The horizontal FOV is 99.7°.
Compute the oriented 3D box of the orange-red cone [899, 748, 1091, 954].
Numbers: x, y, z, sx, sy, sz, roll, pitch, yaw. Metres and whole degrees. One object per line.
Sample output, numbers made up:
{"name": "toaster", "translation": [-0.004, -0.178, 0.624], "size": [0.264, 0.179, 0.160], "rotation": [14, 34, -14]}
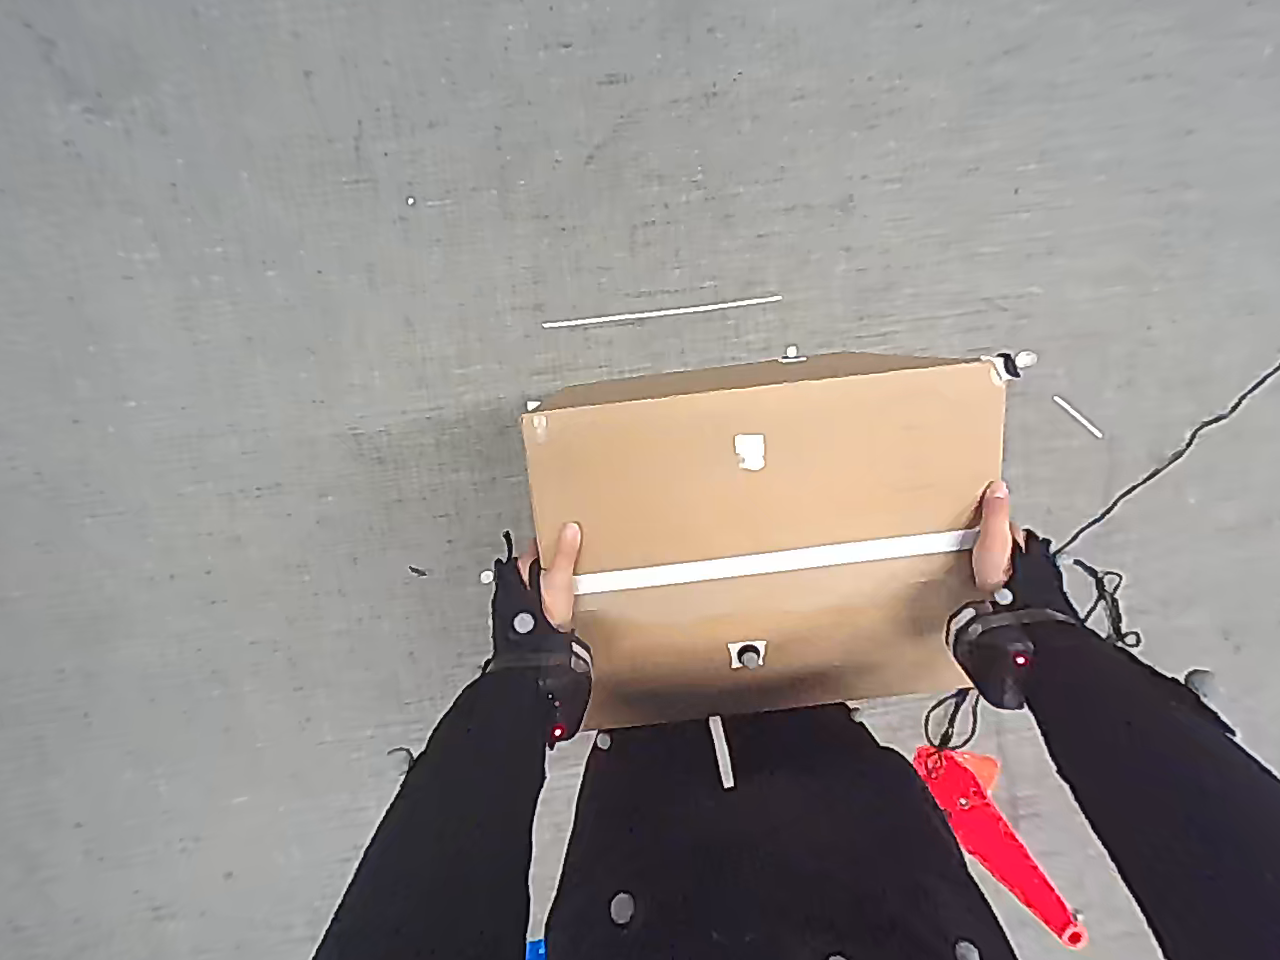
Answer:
{"name": "orange-red cone", "translation": [0.709, 0.730, 1.052], "size": [0.199, 0.360, 0.198], "rotation": [13, 97, -5]}
